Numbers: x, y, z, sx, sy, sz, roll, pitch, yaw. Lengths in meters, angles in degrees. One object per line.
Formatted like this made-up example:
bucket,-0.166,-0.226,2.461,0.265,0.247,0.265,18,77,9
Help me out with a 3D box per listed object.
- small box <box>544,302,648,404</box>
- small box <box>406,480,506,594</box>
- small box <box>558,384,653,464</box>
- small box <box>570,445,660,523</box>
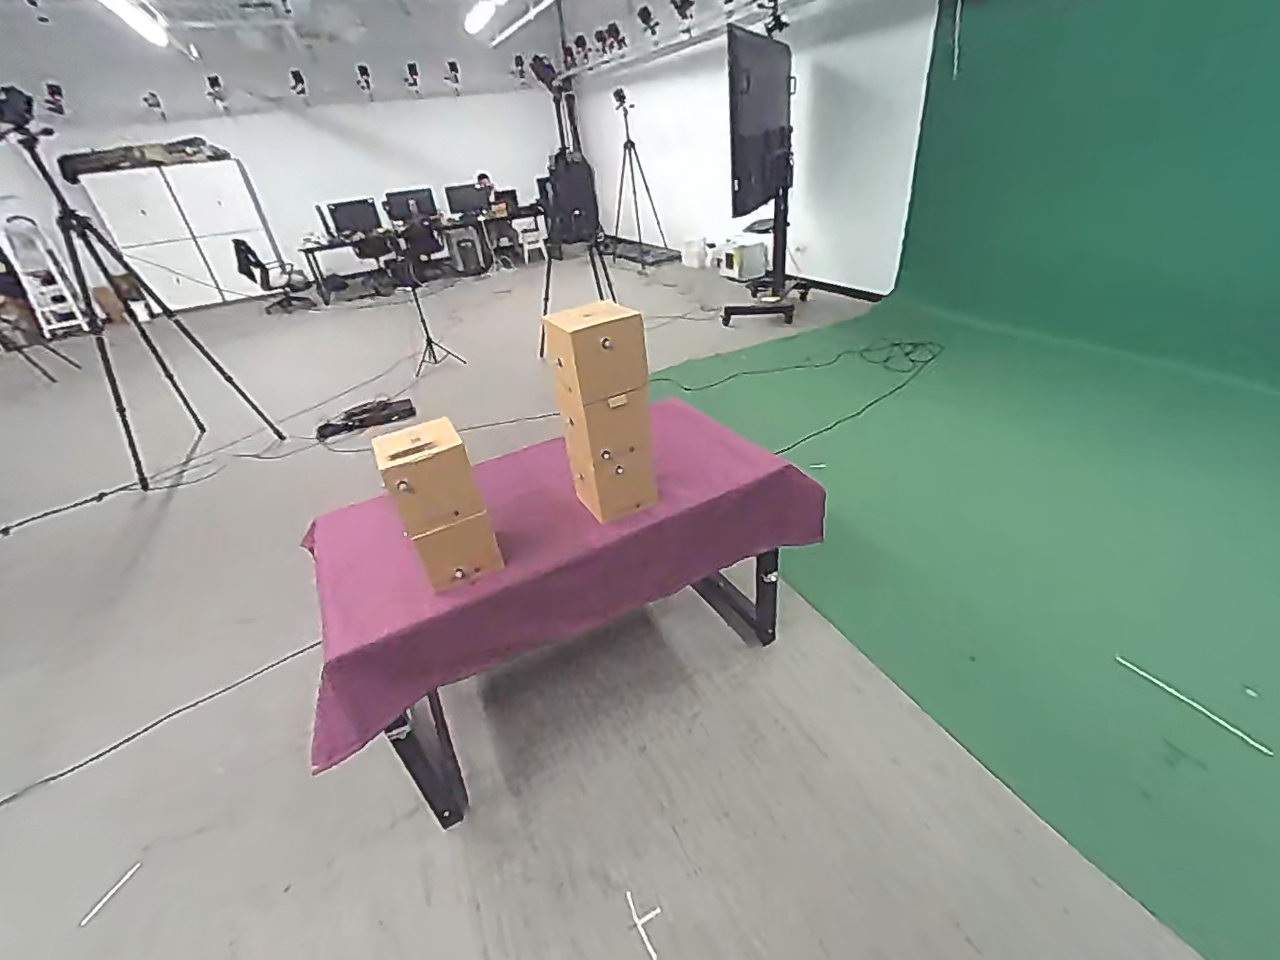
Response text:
small box,-0.096,-0.290,1.234,0.179,0.176,0.168,-21,36,-21
small box,-0.428,0.131,1.259,0.168,0.176,0.179,-21,35,-20
small box,-0.082,-0.154,1.325,0.168,0.176,0.179,-22,34,-22
small box,-0.064,-0.015,1.411,0.168,0.176,0.179,-23,35,-20
